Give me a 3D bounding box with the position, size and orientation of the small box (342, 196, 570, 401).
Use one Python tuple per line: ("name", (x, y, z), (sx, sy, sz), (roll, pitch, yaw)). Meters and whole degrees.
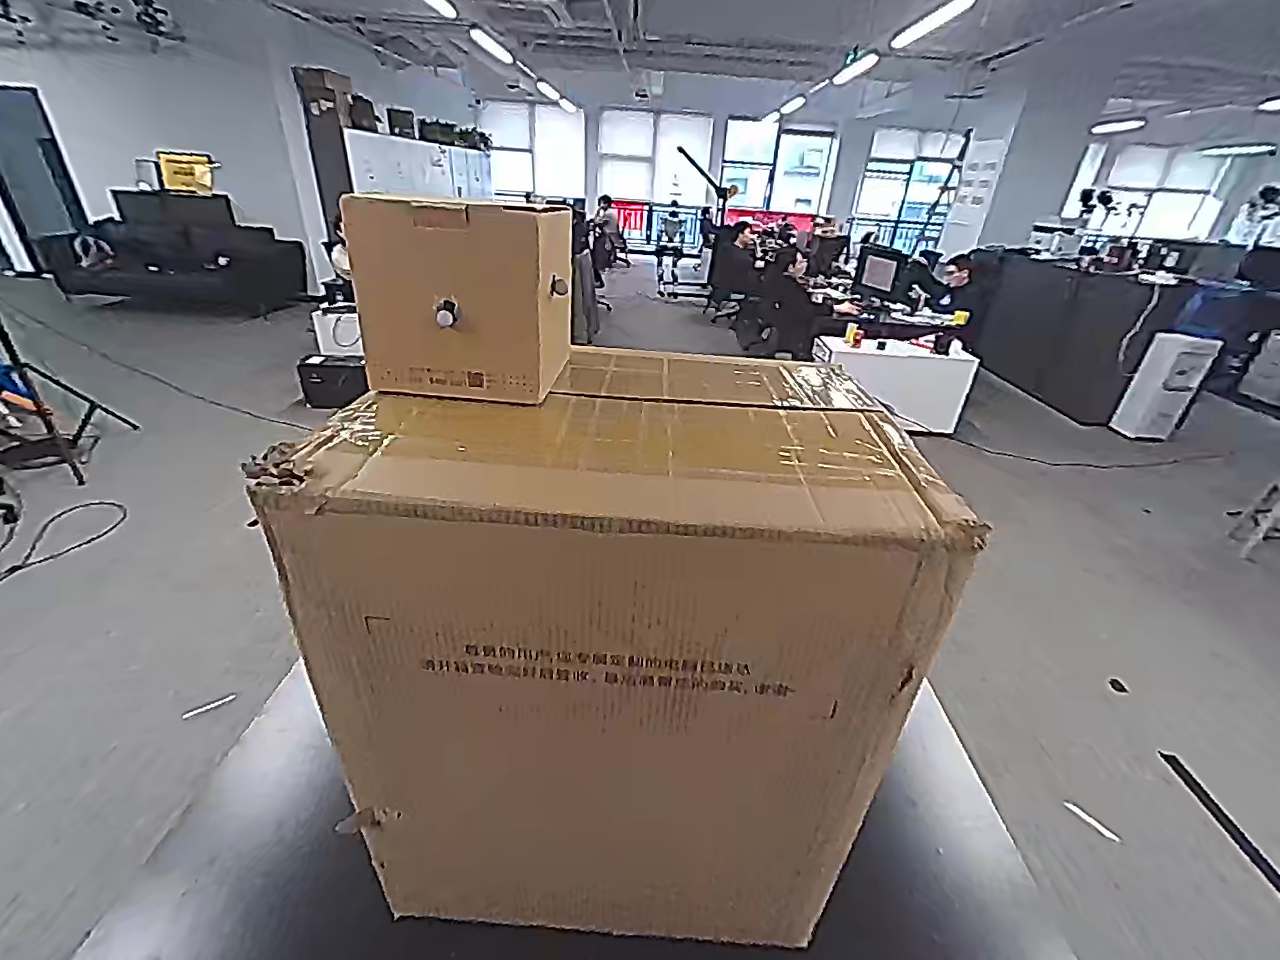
("small box", (-0.164, -0.188, 0.551), (0.168, 0.176, 0.179), (5, 28, 0))
